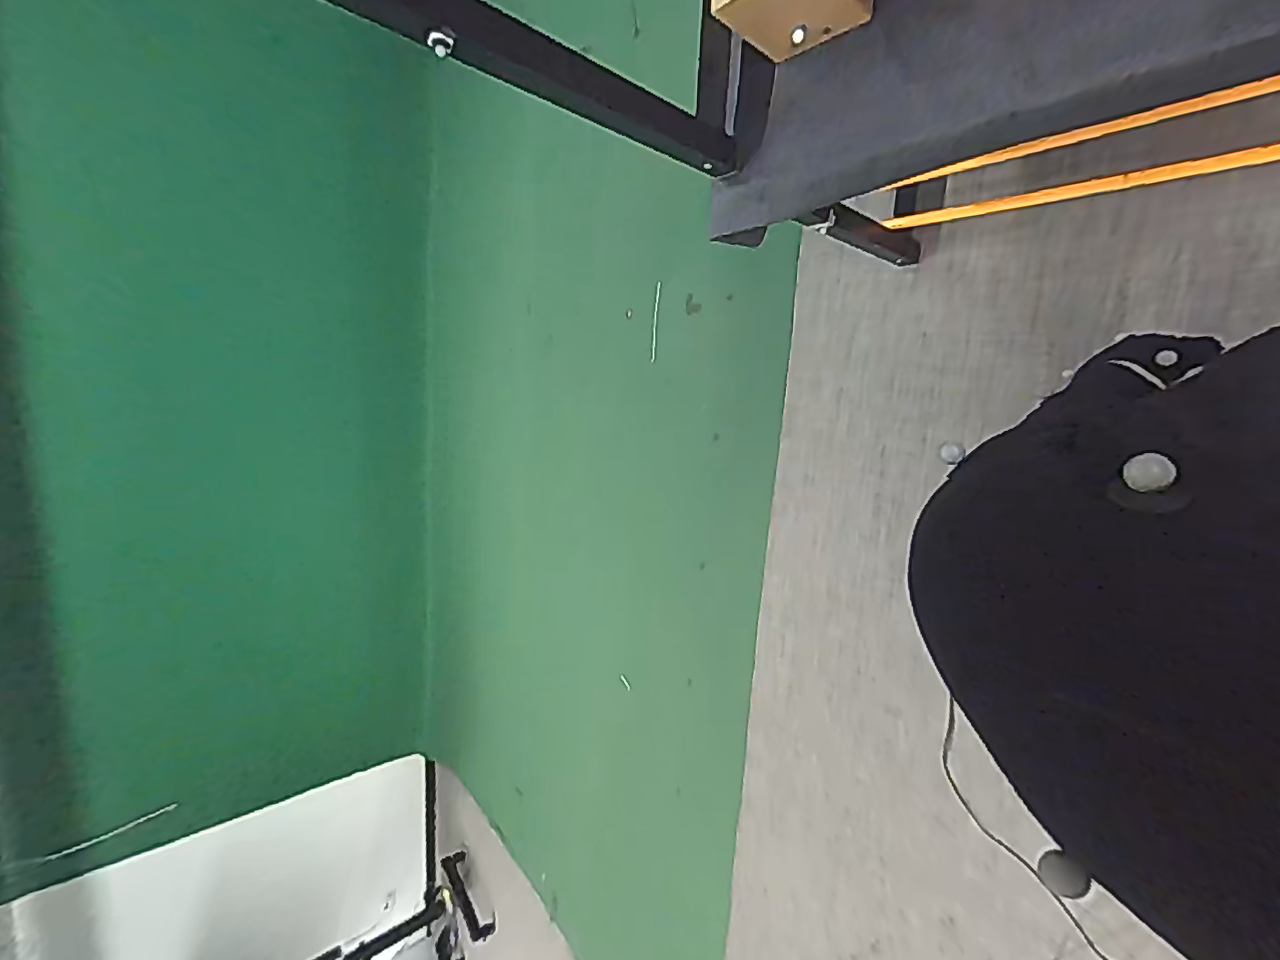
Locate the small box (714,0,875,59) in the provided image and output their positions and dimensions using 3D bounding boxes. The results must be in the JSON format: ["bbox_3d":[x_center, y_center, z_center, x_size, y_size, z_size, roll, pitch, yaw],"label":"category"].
[{"bbox_3d":[0.229,-0.756,0.767,0.168,0.176,0.179,15,105,48],"label":"small box"}]
